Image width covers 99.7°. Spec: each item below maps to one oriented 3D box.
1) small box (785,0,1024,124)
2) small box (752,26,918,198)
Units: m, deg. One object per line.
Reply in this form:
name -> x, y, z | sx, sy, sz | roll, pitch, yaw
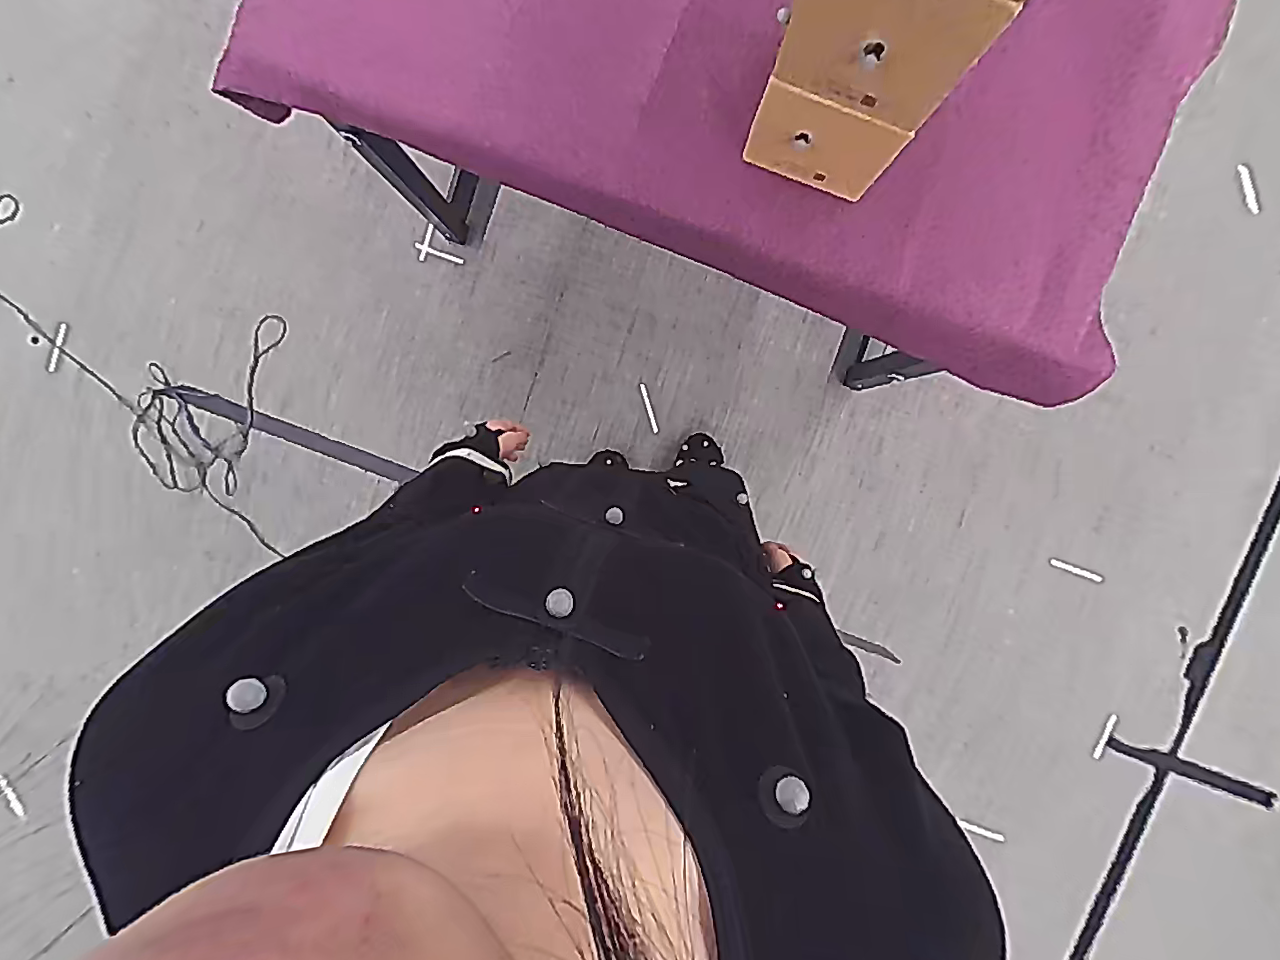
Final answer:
small box -> 0.246, -0.467, 0.481 | 0.168, 0.176, 0.179 | 21, 94, -1
small box -> 0.245, -0.475, 0.645 | 0.168, 0.176, 0.179 | 20, 94, -1
